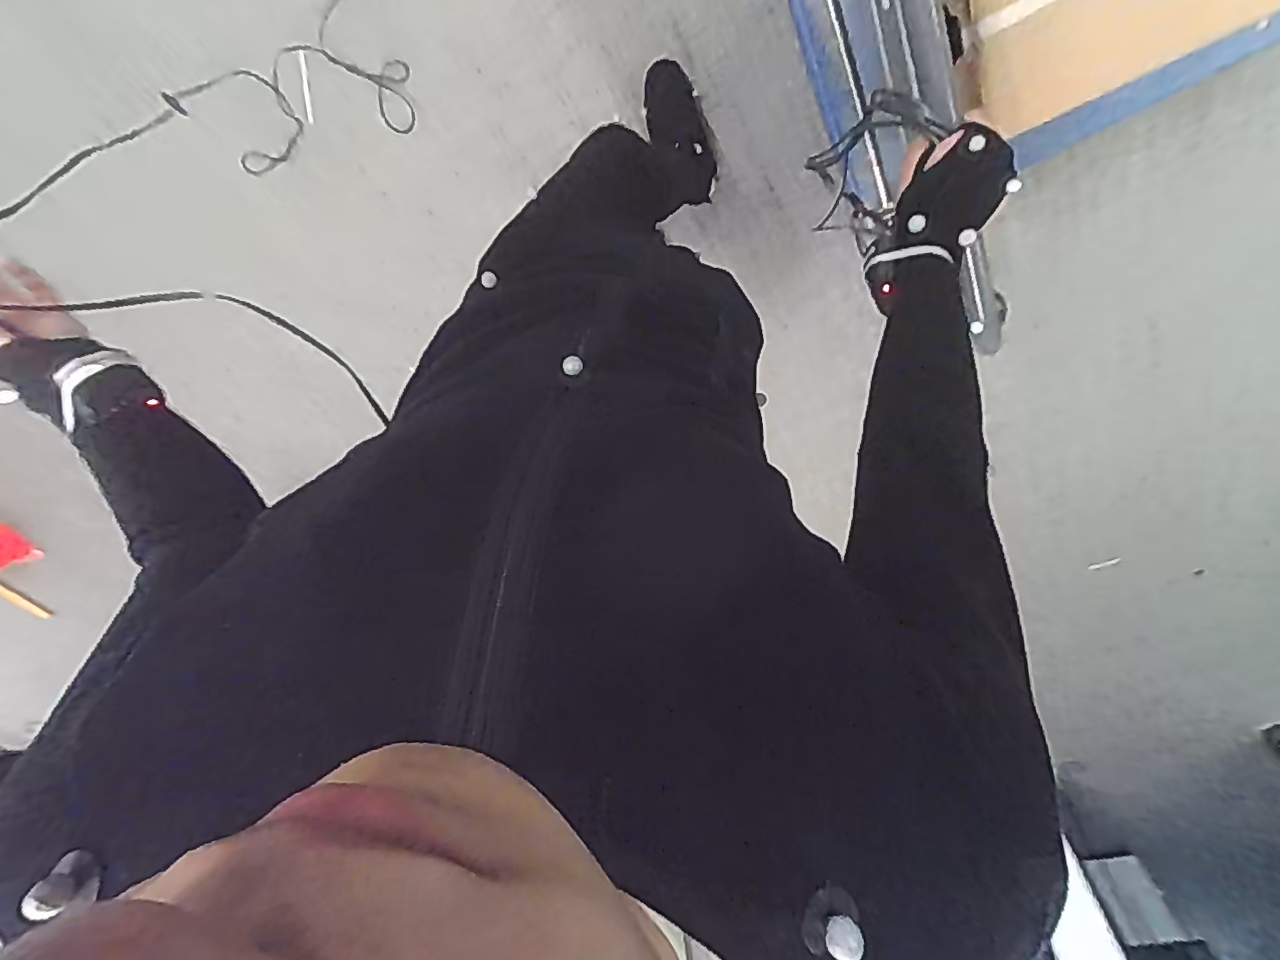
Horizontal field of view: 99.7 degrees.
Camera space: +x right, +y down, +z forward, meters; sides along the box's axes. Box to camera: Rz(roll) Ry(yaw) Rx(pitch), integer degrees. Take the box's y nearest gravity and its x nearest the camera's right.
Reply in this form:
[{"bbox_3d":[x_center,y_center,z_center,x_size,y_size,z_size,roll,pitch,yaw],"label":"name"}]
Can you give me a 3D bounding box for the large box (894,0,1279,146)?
[{"bbox_3d":[0.638,-0.763,0.793,0.408,0.320,0.320,-20,123,19],"label":"large box"}]
